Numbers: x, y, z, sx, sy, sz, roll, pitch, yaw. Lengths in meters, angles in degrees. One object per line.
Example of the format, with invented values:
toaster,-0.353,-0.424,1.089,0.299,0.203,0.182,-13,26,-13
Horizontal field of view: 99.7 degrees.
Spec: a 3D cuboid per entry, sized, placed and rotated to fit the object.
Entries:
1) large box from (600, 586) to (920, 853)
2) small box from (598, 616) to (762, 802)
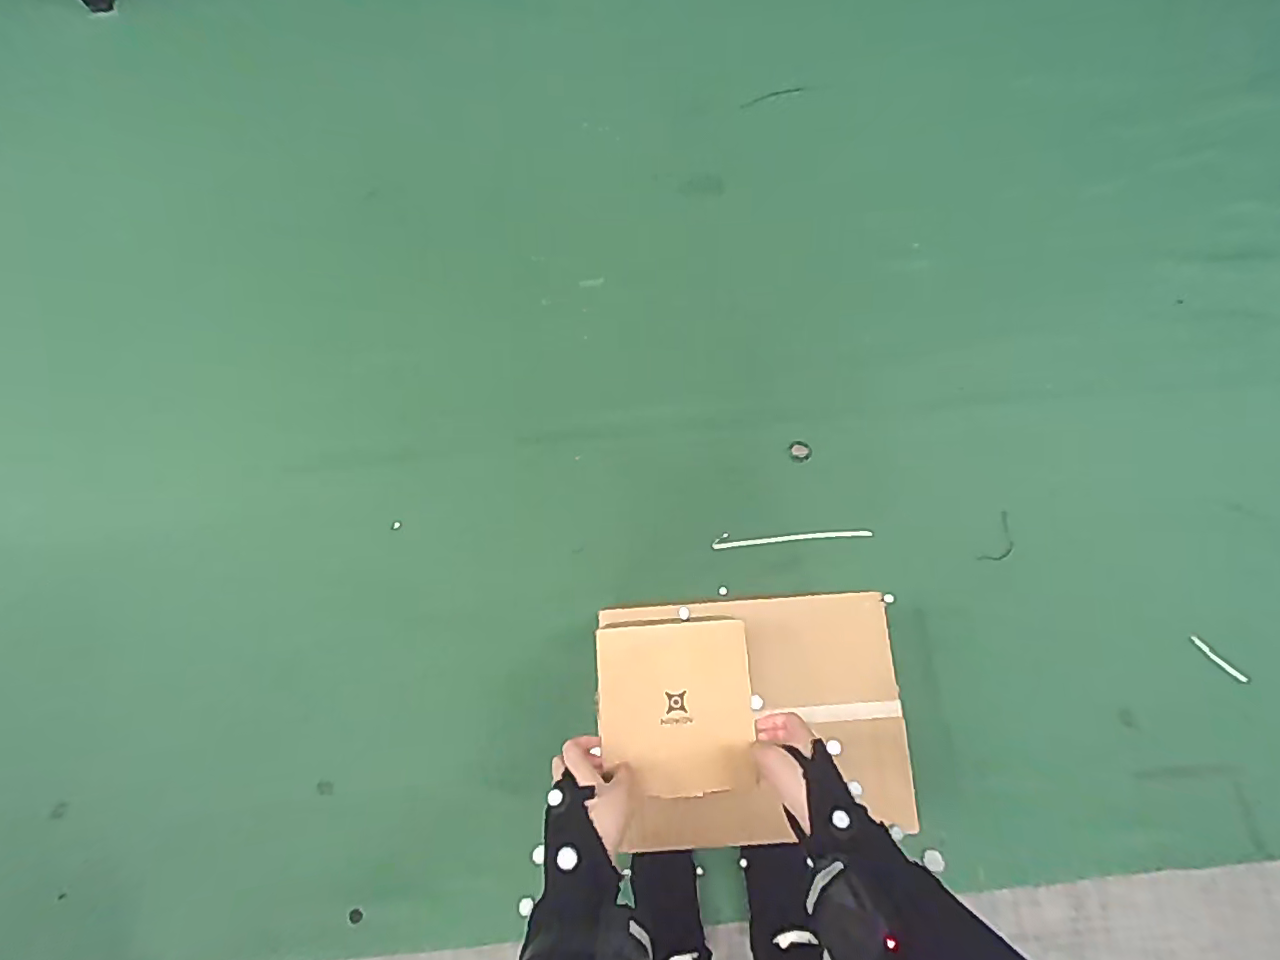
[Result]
large box,0.154,0.346,0.872,0.408,0.320,0.320,-4,79,0
small box,0.039,0.255,0.645,0.168,0.176,0.179,-4,78,0
